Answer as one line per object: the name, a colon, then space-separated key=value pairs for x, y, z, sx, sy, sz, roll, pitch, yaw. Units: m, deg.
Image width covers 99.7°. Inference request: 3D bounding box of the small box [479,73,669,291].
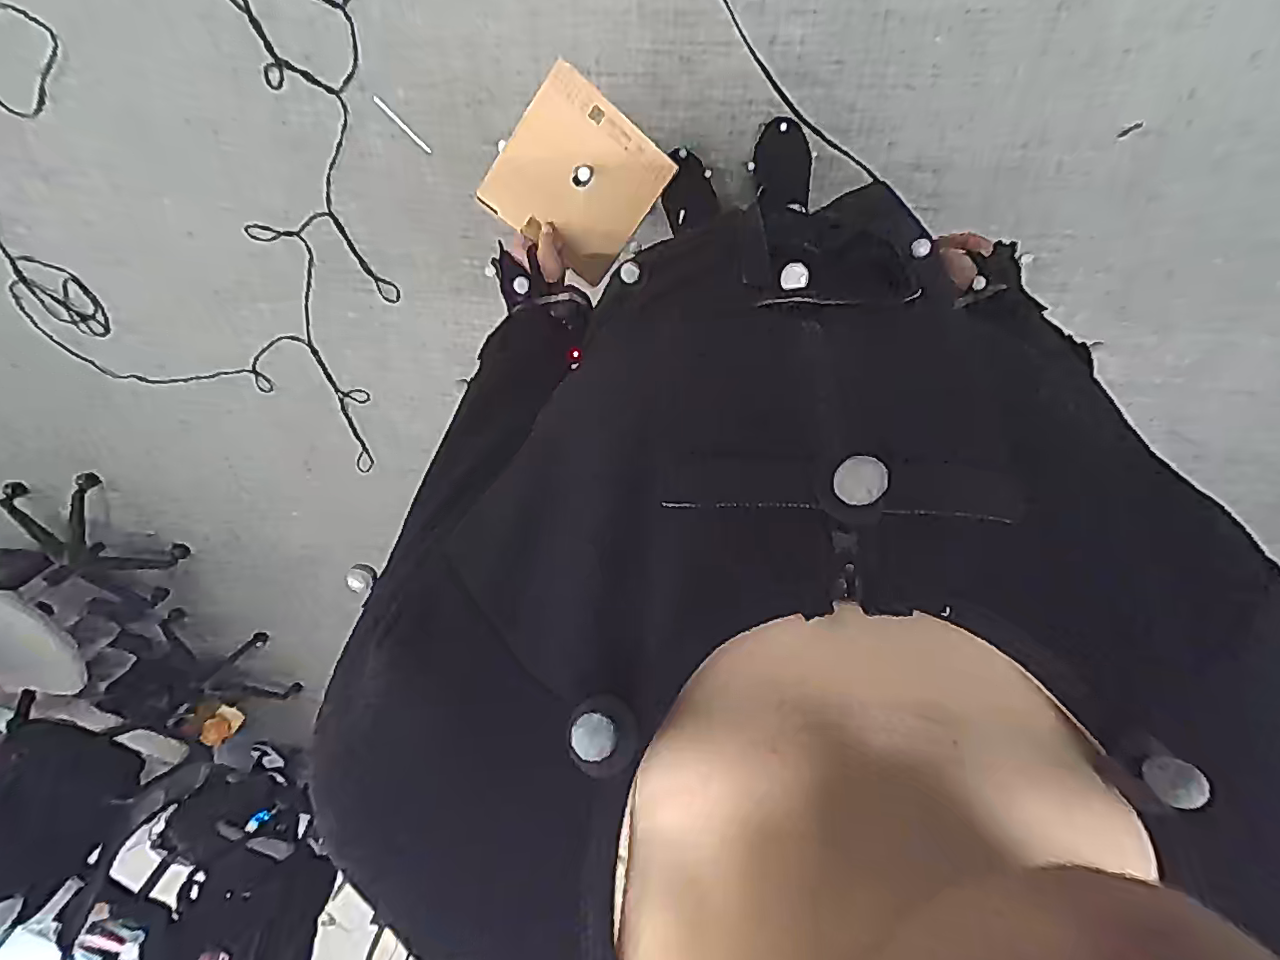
small box: x=-0.085 y=-0.362 z=0.685 sx=0.168 sy=0.179 sz=0.176 roll=32 pitch=101 yaw=-21
